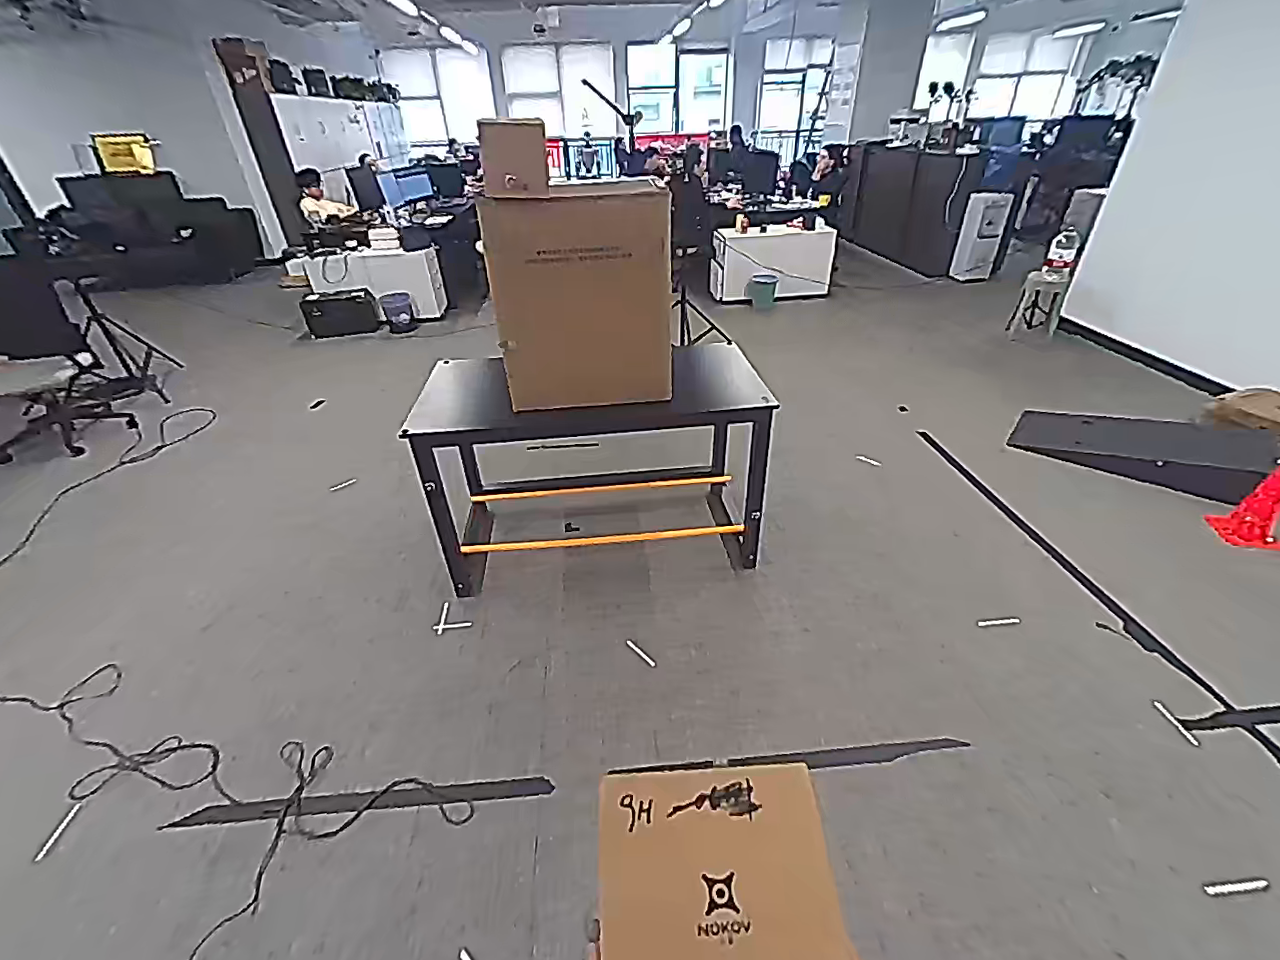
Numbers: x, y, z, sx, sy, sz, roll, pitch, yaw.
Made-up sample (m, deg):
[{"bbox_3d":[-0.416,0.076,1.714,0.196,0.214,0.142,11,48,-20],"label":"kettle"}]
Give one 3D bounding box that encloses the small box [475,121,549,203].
[{"bbox_3d":[-0.332,-0.838,1.420,0.168,0.176,0.179,-6,38,-9],"label":"small box"}]
